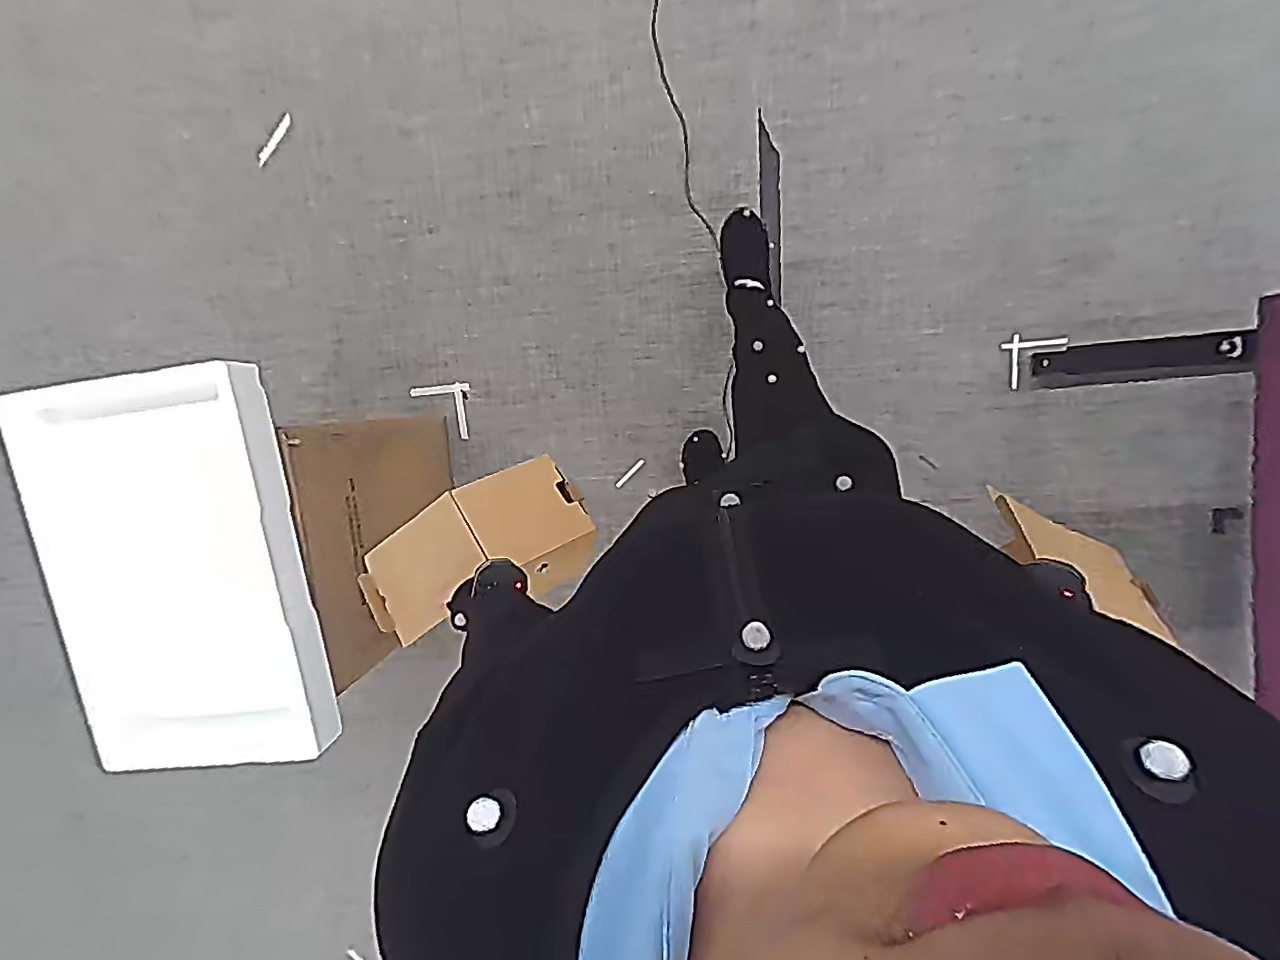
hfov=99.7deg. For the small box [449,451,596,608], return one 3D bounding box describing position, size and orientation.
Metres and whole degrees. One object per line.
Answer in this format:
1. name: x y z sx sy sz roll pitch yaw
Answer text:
1. small box: -0.196 0.086 0.897 0.179 0.176 0.168 -24 68 -28
